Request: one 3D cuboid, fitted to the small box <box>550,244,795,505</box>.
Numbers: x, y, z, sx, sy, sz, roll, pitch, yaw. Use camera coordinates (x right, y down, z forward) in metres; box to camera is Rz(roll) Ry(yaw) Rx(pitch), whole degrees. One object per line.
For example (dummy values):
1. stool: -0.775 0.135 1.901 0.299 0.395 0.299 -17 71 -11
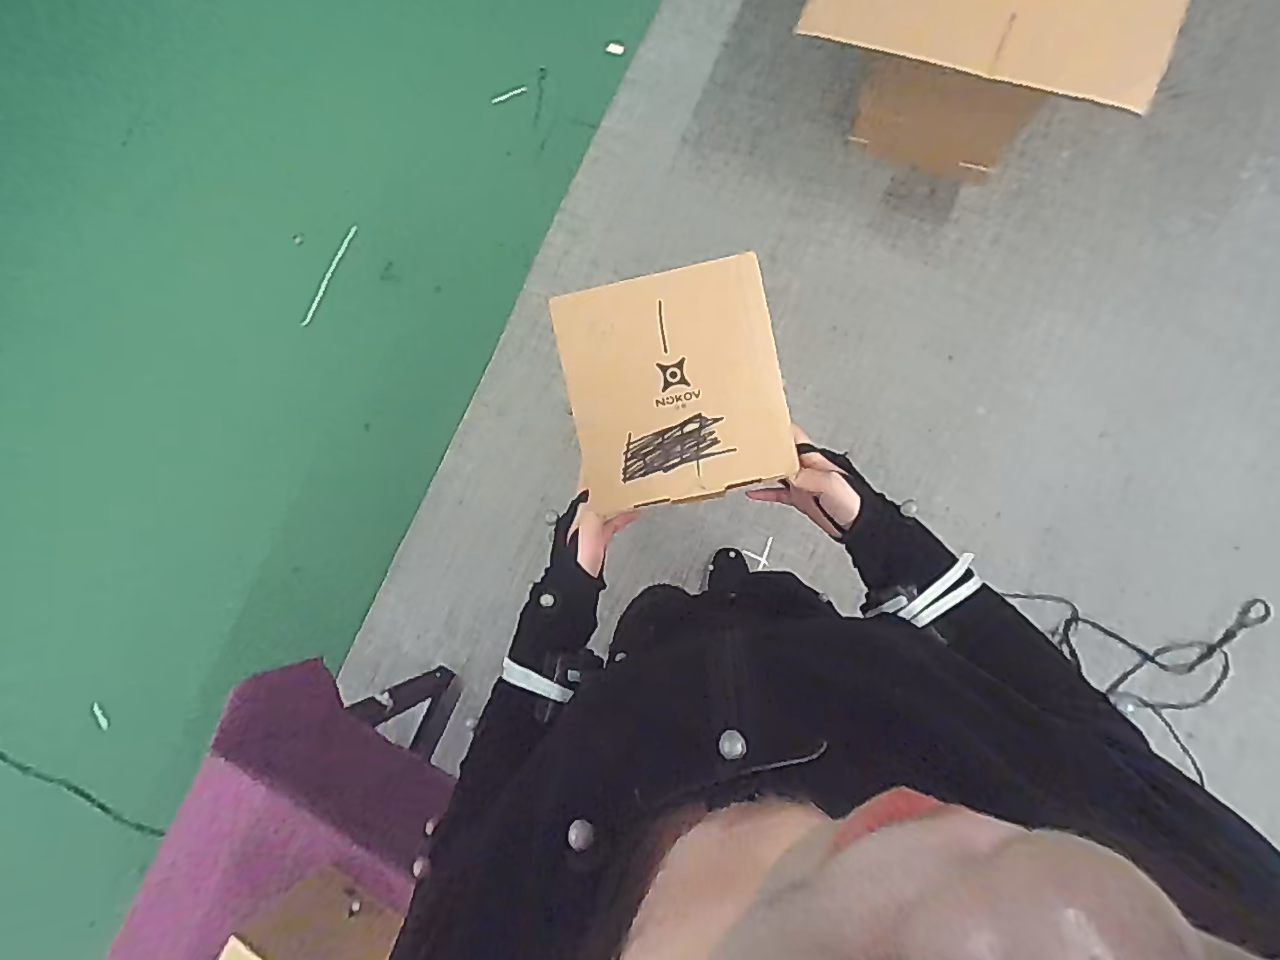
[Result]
1. small box: 0.030 -0.084 0.496 0.168 0.176 0.179 -11 92 3
